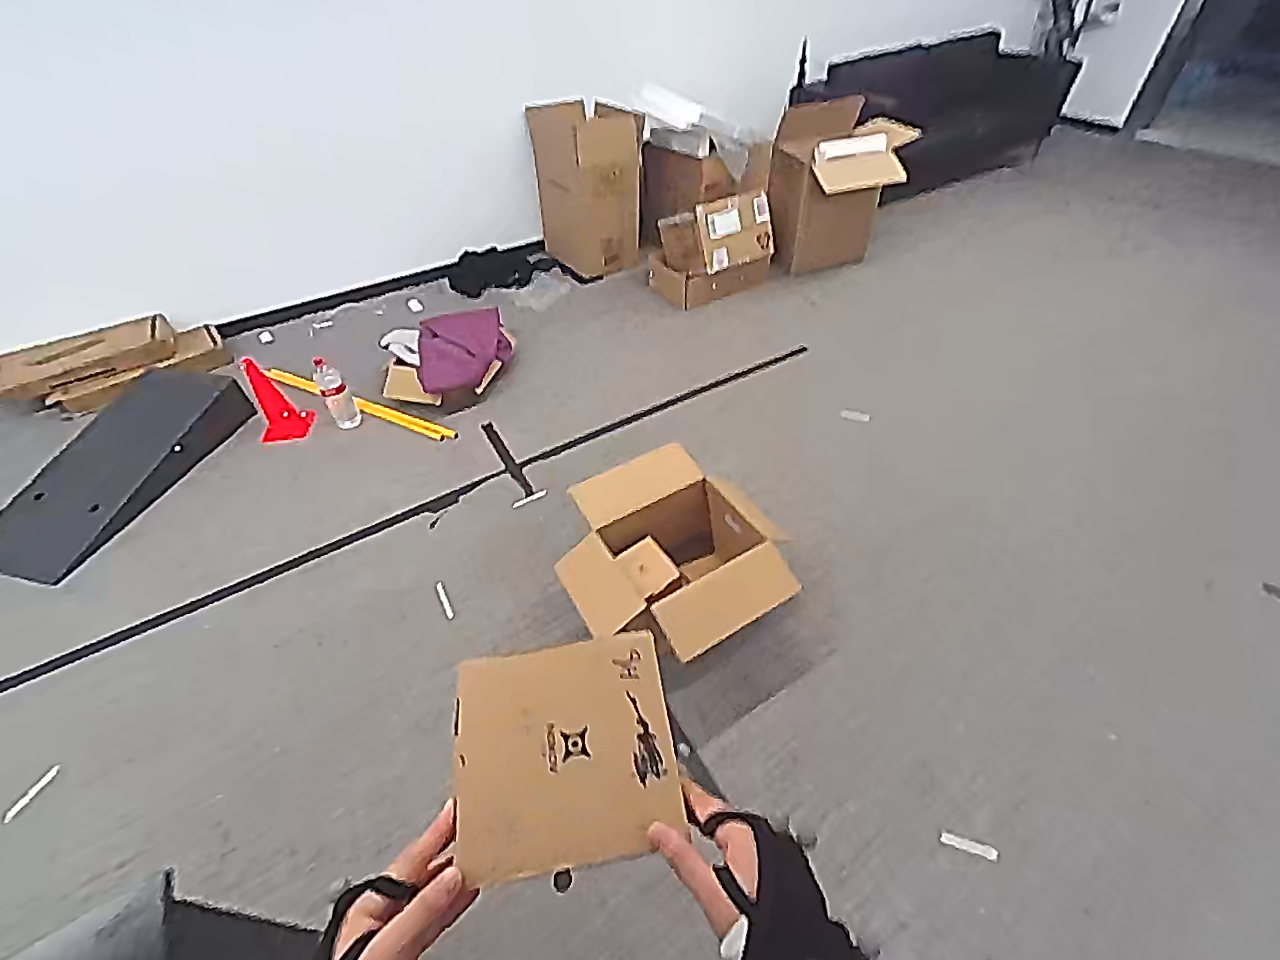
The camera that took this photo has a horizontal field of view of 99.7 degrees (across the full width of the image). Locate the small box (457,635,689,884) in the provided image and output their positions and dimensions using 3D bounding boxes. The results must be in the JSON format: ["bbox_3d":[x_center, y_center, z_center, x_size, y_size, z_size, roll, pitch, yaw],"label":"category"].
[{"bbox_3d":[-0.058,0.265,0.507,0.179,0.176,0.168,-8,55,-5],"label":"small box"}]
